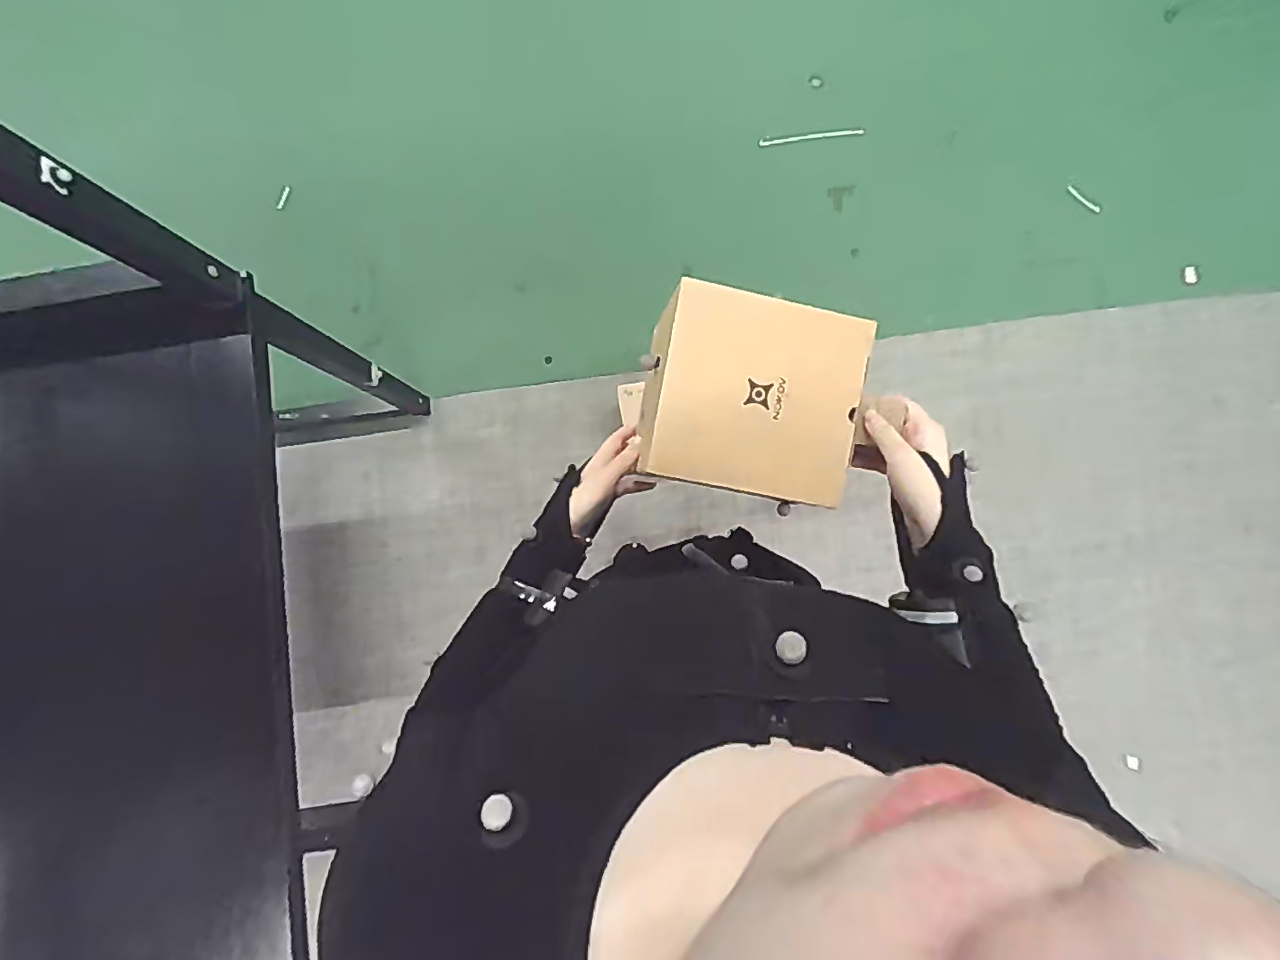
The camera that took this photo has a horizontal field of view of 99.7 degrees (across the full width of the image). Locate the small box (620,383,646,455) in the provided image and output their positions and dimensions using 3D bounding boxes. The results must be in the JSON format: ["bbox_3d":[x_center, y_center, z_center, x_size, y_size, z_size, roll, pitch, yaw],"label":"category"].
[{"bbox_3d":[0.044,-0.160,1.457,0.168,0.176,0.179,-10,83,1],"label":"small box"}]

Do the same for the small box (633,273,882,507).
[{"bbox_3d":[0.094,-0.073,0.519,0.179,0.176,0.168,10,91,-7],"label":"small box"}]
